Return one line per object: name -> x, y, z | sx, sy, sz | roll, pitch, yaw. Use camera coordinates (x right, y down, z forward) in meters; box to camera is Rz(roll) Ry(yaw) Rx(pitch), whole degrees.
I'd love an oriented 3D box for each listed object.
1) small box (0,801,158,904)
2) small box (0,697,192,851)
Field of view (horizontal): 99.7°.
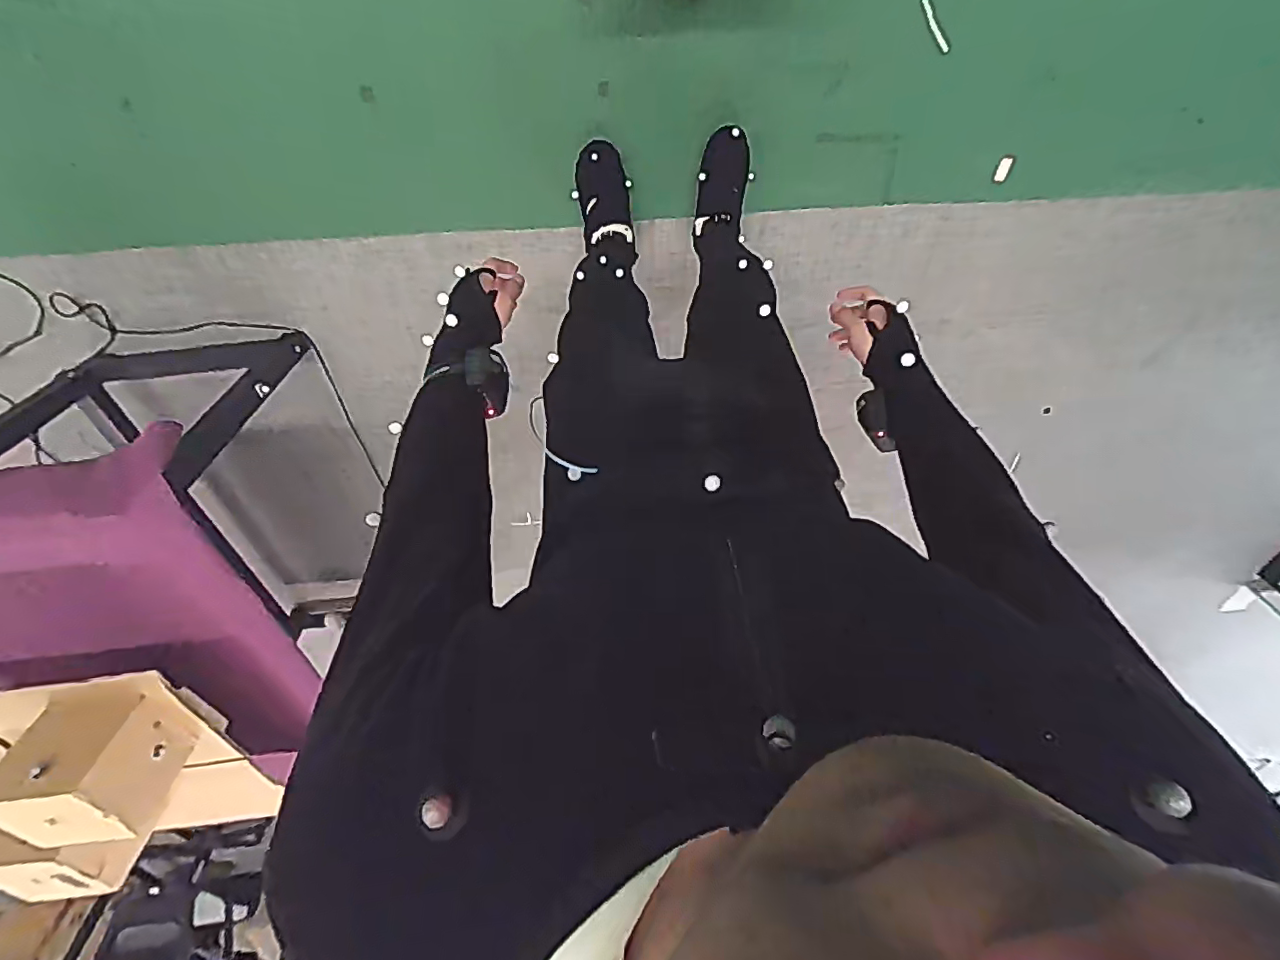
small box -> -1.094, 0.684, 1.043 | 0.179, 0.176, 0.168 | -6, 127, 1
small box -> -0.931, 0.494, 0.917 | 0.179, 0.176, 0.168 | -7, 127, 0
